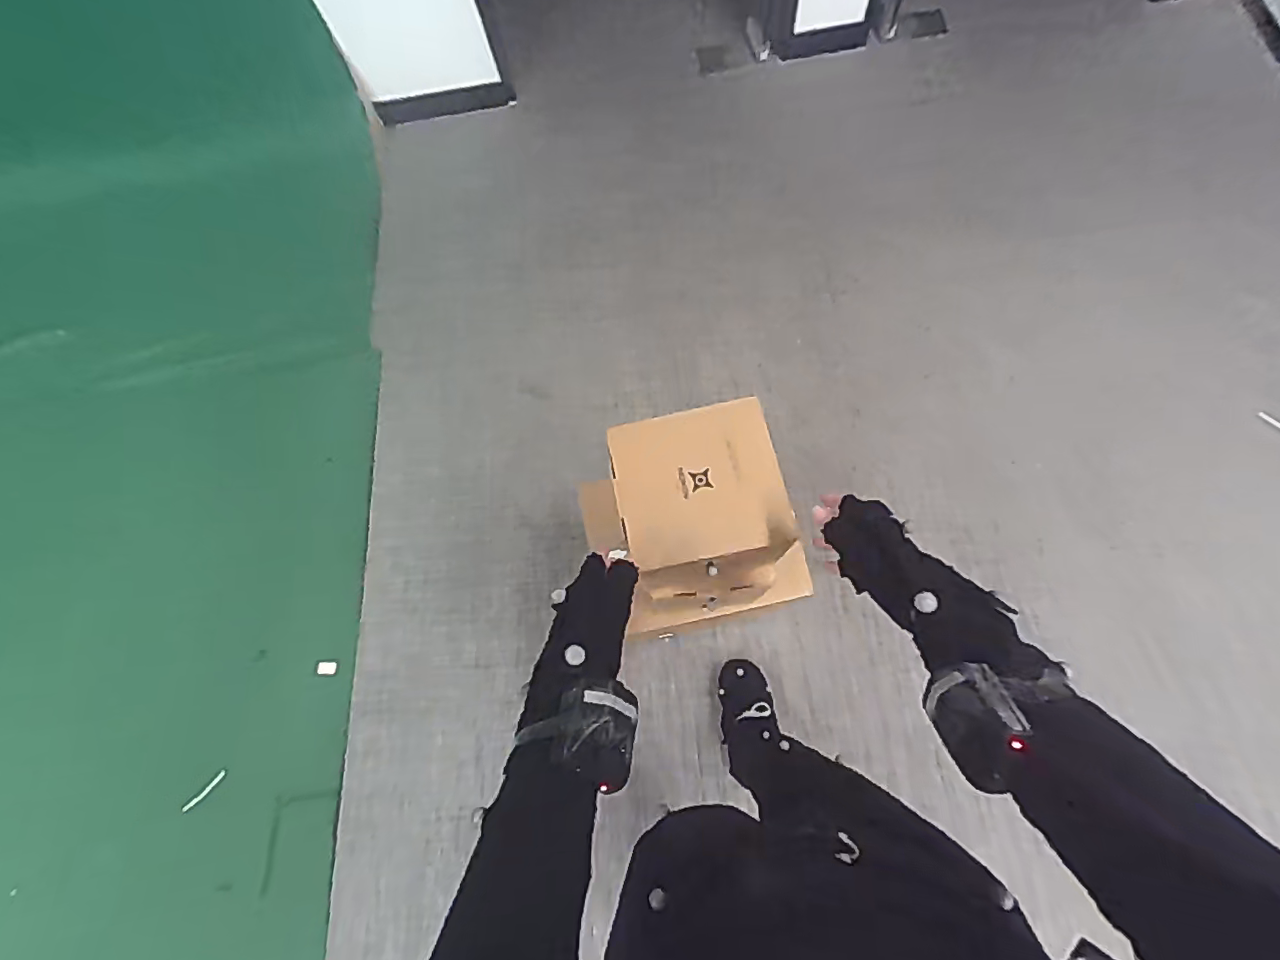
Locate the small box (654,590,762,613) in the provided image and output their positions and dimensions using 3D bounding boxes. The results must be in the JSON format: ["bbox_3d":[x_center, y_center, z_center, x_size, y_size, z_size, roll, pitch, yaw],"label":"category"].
[{"bbox_3d":[0.109,0.141,0.965,0.179,0.176,0.168,-8,71,5],"label":"small box"}]

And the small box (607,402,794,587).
[{"bbox_3d":[0.069,0.029,0.662,0.179,0.176,0.168,-13,72,1],"label":"small box"}]

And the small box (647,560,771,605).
[{"bbox_3d":[0.093,0.091,0.811,0.168,0.176,0.179,-7,72,3],"label":"small box"}]
